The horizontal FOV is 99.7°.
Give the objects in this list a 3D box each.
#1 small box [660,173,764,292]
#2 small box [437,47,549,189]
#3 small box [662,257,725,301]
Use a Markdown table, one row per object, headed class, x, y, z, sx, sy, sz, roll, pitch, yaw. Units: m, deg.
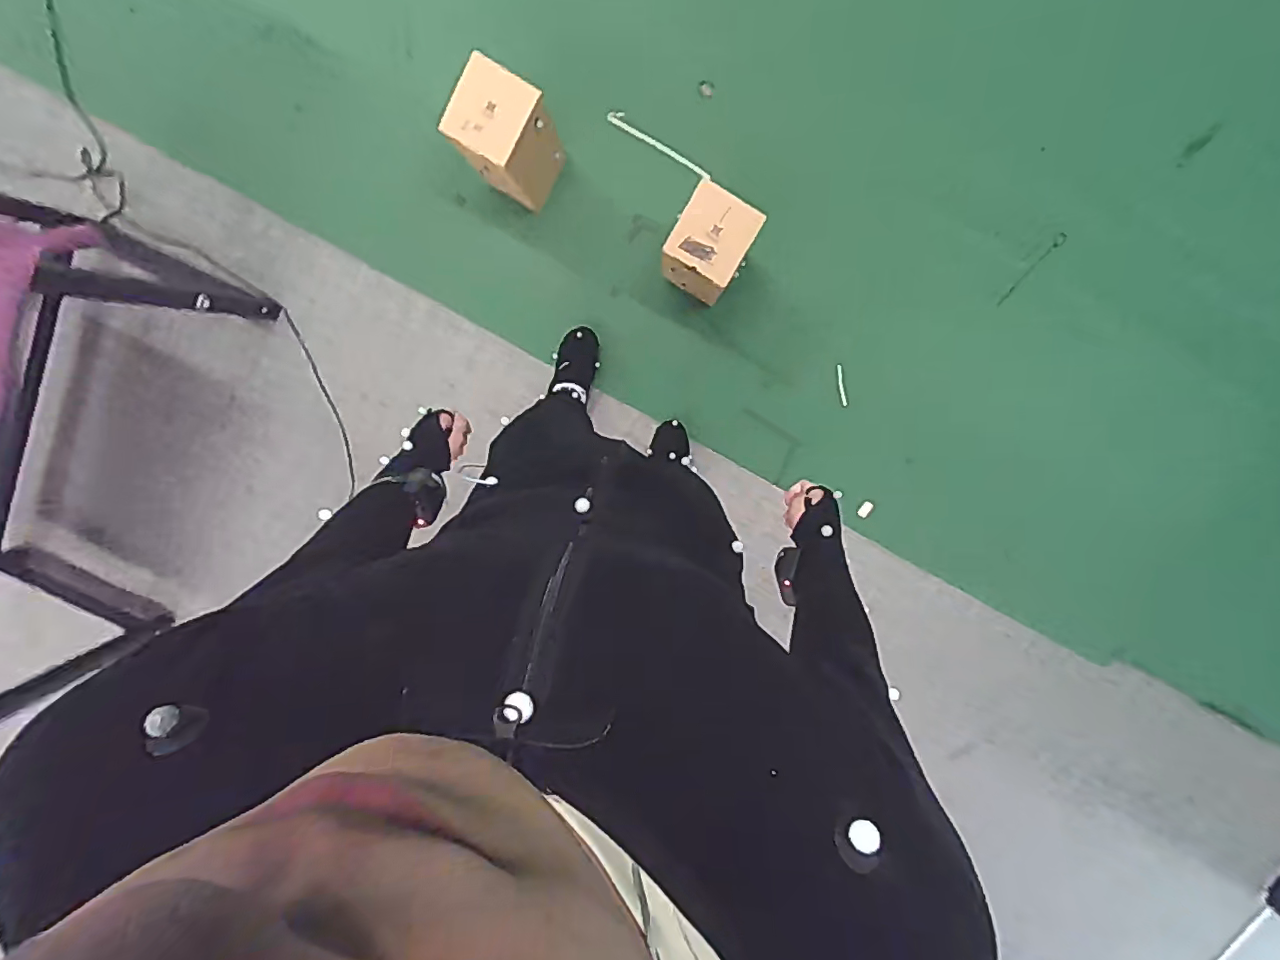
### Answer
| class | x | y | z | sx | sy | sz | roll | pitch | yaw |
| --- | --- | --- | --- | --- | --- | --- | --- | --- | --- |
| small box | 0.160 | -0.557 | 1.250 | 0.168 | 0.176 | 0.179 | 31 | 101 | -5 |
| small box | -0.320 | -0.804 | 1.222 | 0.168 | 0.176 | 0.179 | 31 | 101 | -3 |
| small box | 0.167 | -0.591 | 1.410 | 0.168 | 0.176 | 0.179 | 29 | 102 | -4 |
